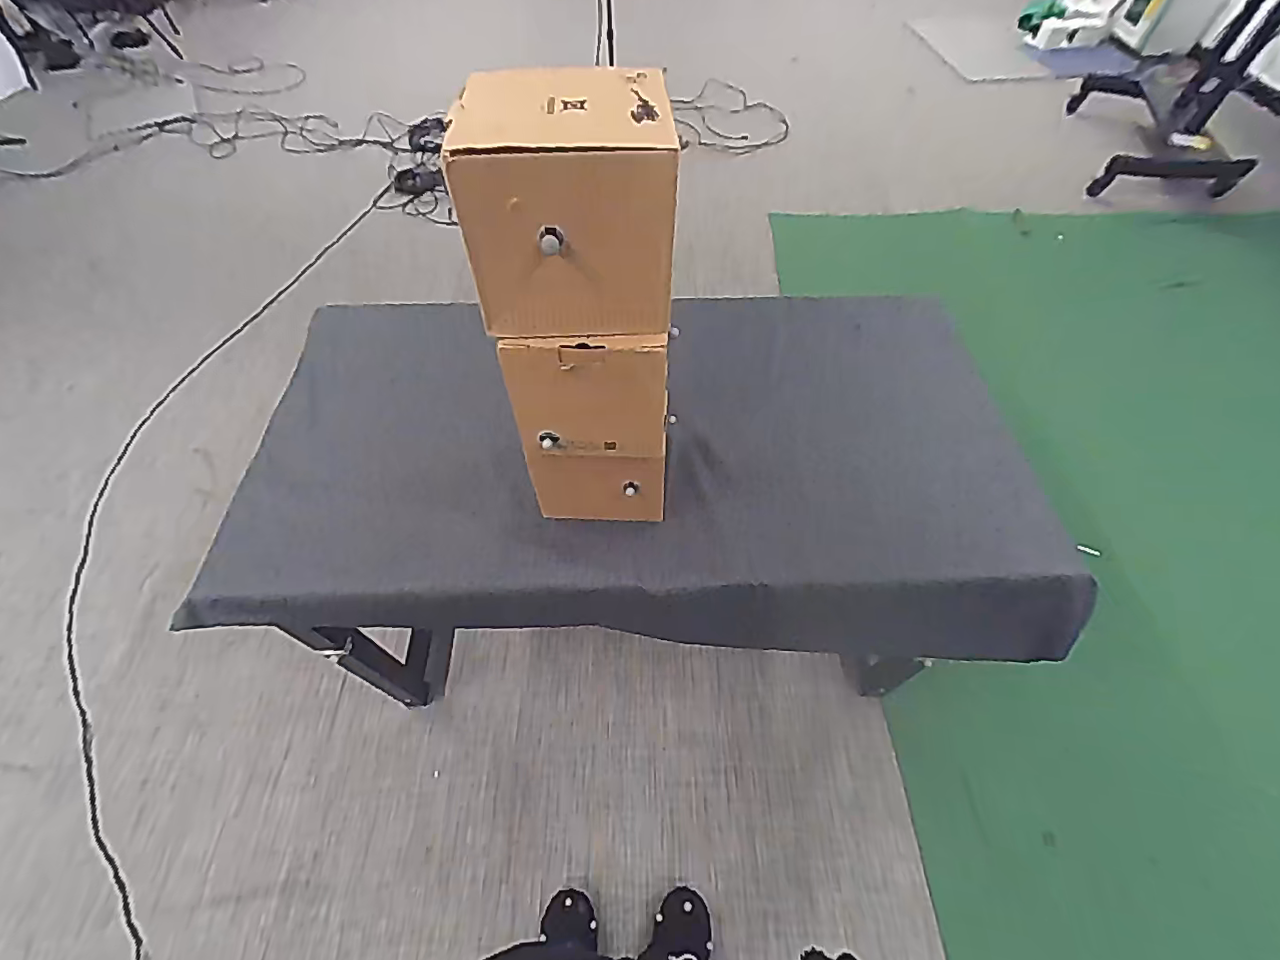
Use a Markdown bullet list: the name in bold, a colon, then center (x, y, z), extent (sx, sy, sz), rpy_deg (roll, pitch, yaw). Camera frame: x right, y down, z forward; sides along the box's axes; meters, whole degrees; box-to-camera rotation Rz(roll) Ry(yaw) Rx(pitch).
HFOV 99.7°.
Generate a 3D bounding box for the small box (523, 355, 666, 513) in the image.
- **small box**: center (-0.053, -0.065, 0.774), extent (0.179, 0.176, 0.168), rpy_deg (1, 54, 3)

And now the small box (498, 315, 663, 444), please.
- **small box**: center (-0.057, -0.154, 0.637), extent (0.168, 0.176, 0.179), rpy_deg (-1, 56, 0)

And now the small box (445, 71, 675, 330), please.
- **small box**: center (-0.066, -0.259, 0.514), extent (0.179, 0.176, 0.168), rpy_deg (-5, 53, -4)
